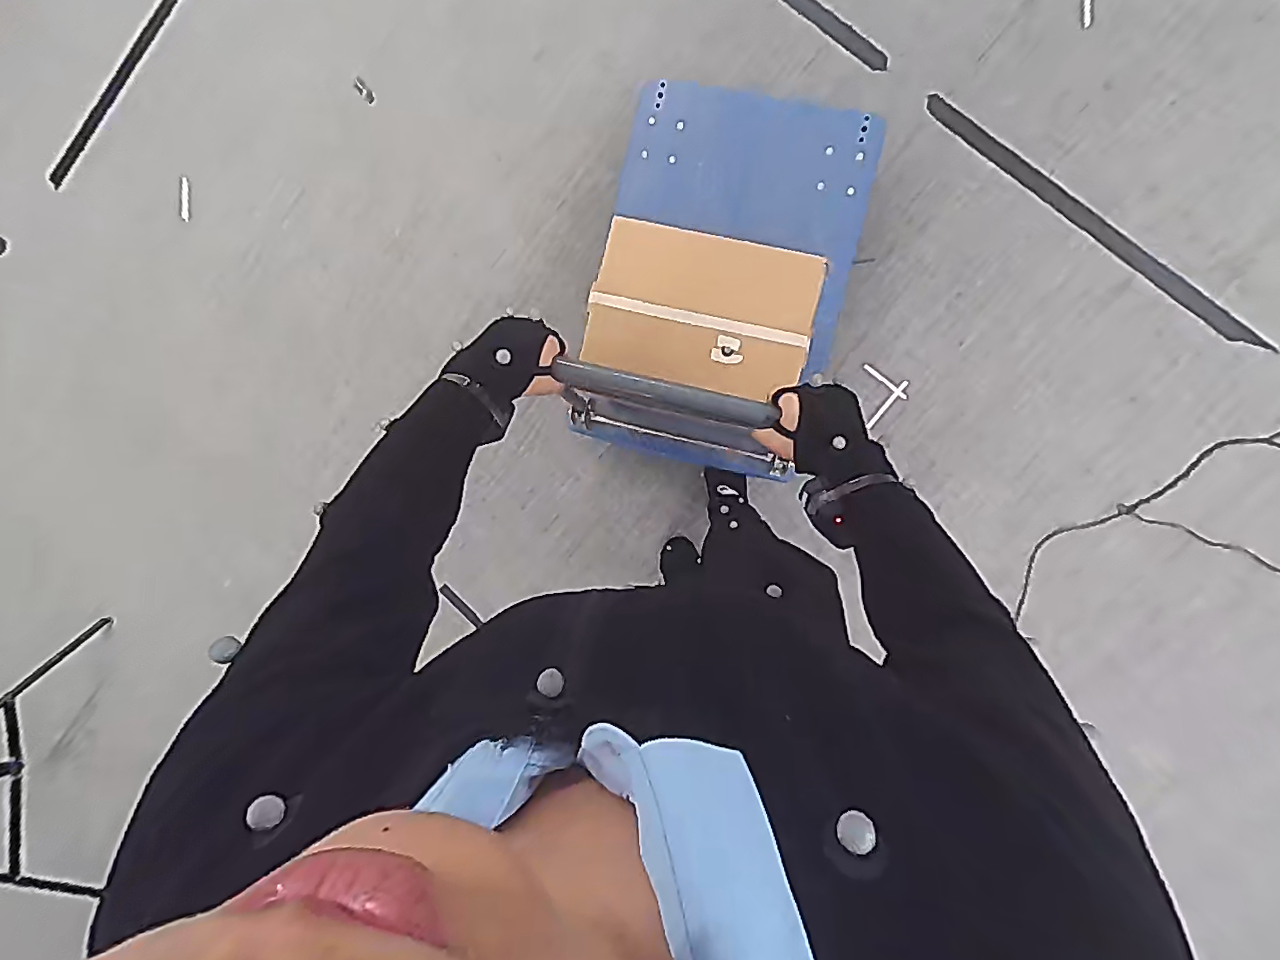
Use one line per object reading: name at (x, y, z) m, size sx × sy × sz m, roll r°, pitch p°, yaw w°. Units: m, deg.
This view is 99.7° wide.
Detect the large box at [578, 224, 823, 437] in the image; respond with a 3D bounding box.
large box at (0.119, -0.291, 1.145) m, size 0.408 × 0.320 × 0.320 m, roll 14°, pitch 93°, yaw 5°
